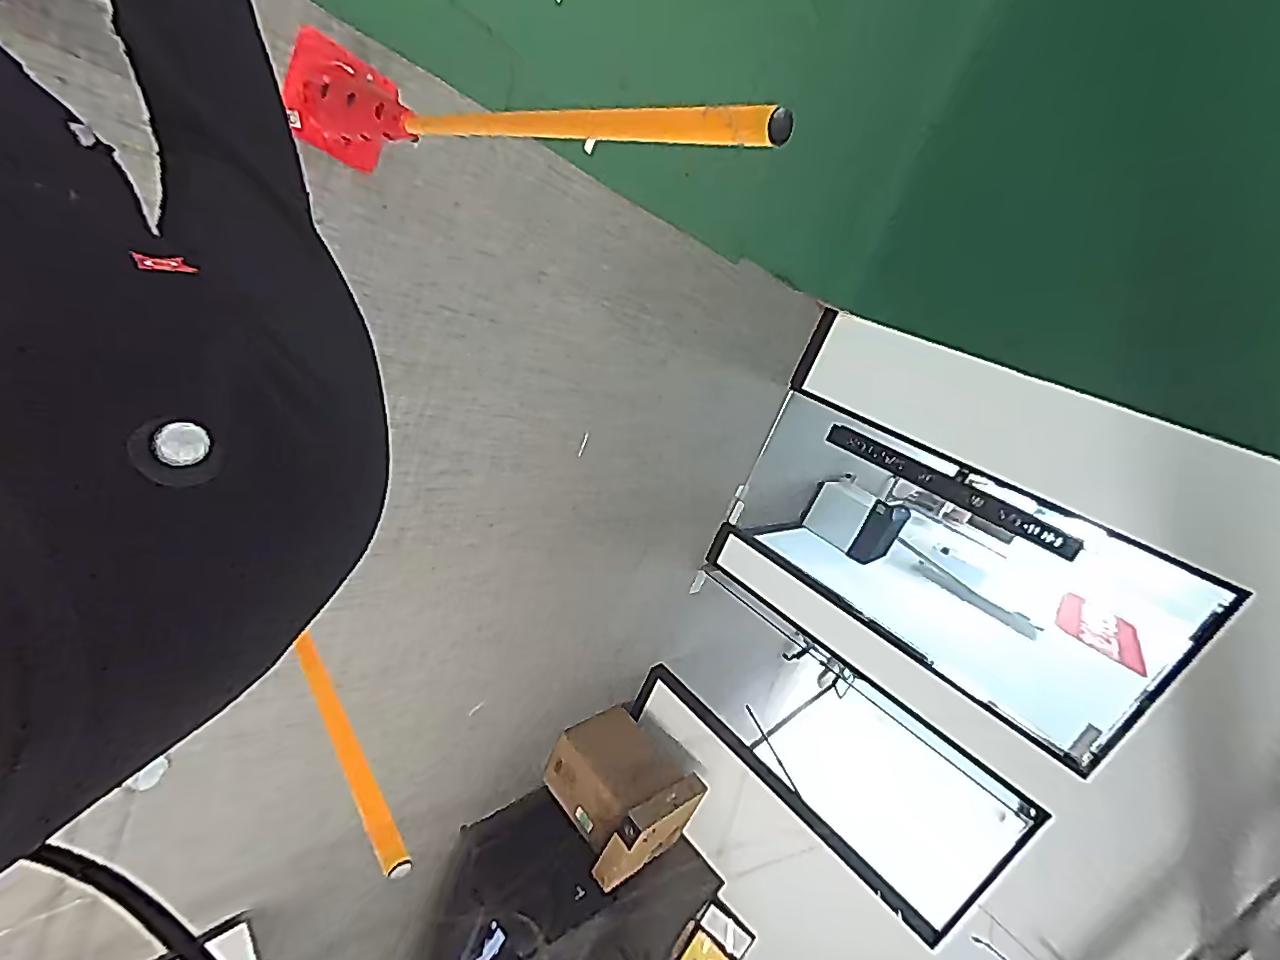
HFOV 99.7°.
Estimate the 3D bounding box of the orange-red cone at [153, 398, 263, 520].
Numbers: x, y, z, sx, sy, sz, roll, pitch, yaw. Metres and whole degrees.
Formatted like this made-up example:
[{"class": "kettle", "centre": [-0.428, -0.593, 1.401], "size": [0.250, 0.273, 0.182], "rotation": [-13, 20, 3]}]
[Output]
[{"class": "orange-red cone", "centre": [-0.924, -0.016, 1.202], "size": [0.199, 0.360, 0.198], "rotation": [1, 118, -49]}]
